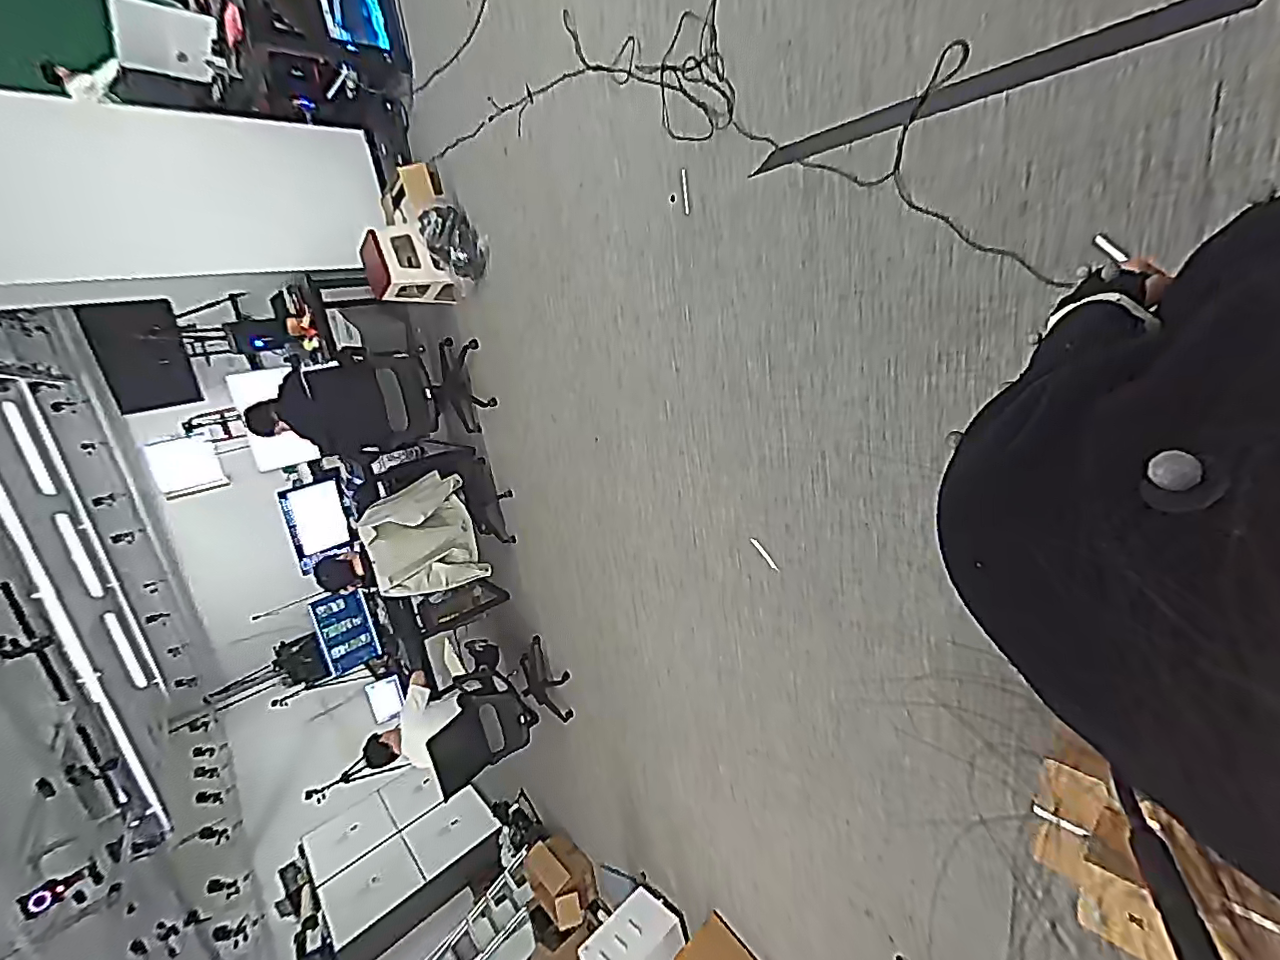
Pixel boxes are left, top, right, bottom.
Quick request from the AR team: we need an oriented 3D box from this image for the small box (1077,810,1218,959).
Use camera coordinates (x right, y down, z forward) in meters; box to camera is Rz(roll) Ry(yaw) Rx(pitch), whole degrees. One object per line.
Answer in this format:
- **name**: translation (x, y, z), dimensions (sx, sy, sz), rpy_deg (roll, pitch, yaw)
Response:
- **small box**: translation (0.988, 0.796, 1.055), dimensions (0.179, 0.176, 0.168), rpy_deg (10, 113, 49)
